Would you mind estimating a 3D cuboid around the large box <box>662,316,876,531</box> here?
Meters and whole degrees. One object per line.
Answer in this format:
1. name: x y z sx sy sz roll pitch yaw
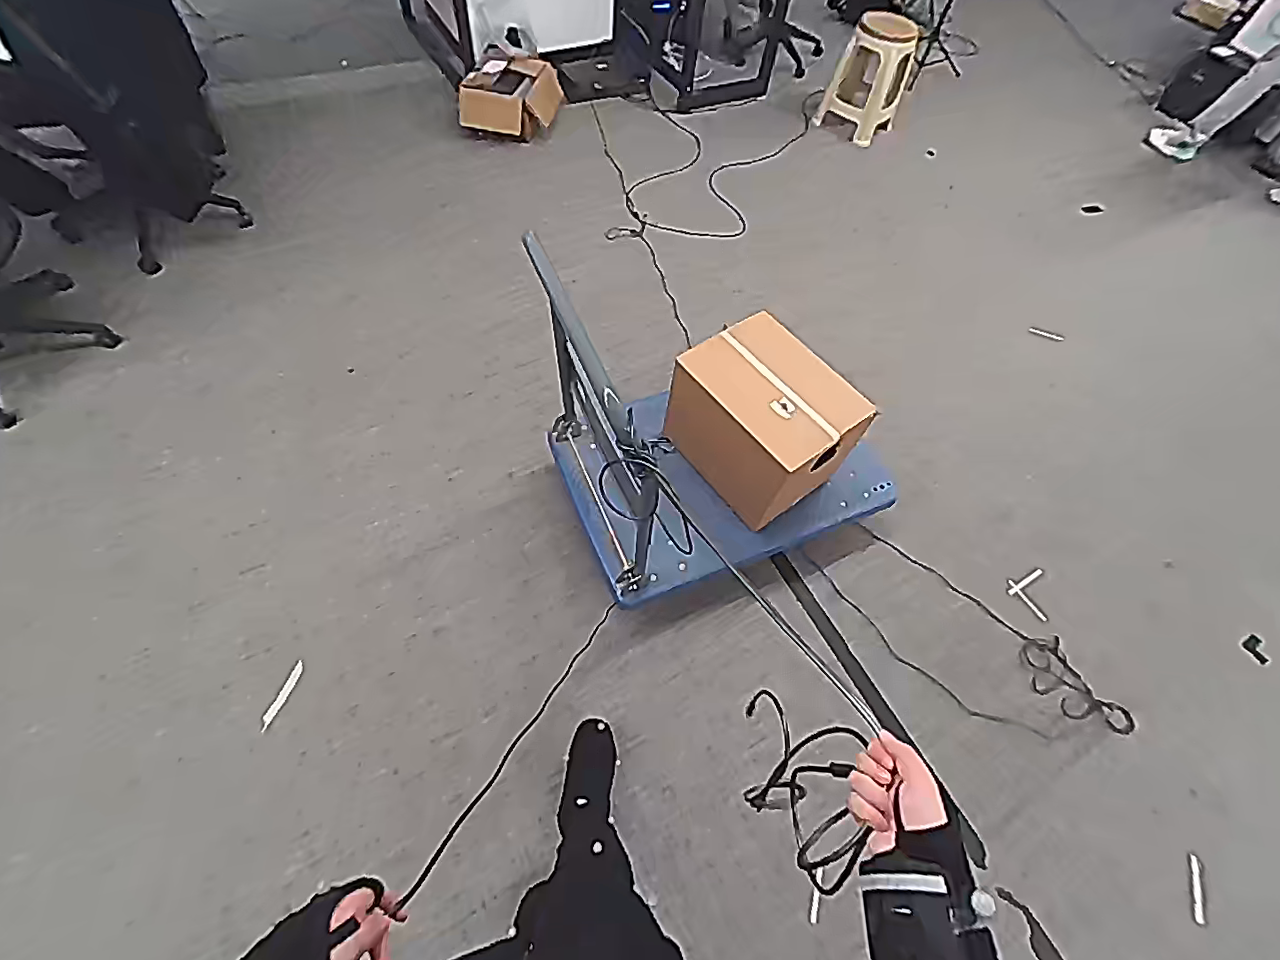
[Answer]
1. large box: 0.311 -0.148 1.430 0.320 0.320 0.408 -32 68 -21
